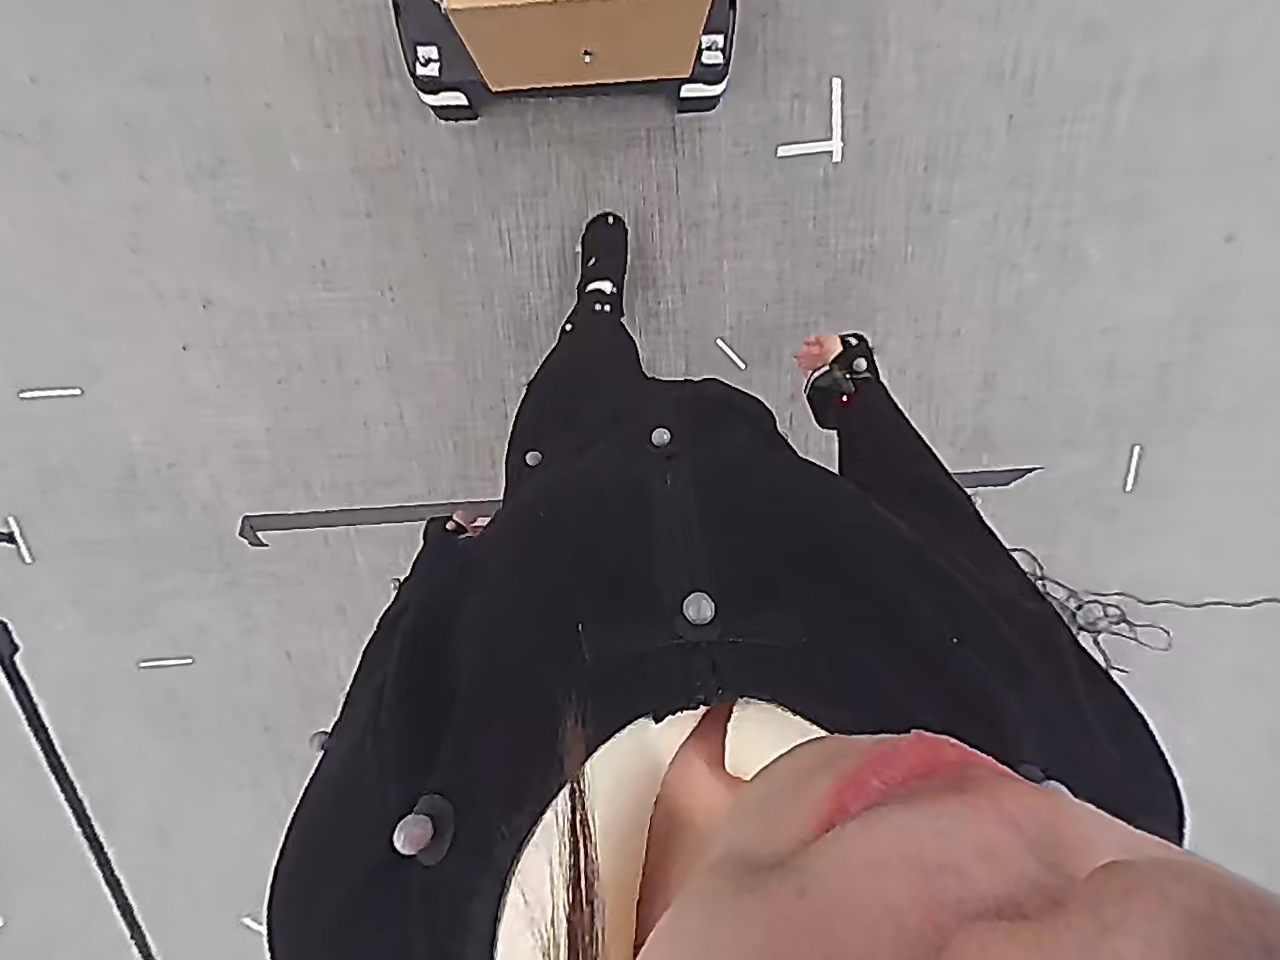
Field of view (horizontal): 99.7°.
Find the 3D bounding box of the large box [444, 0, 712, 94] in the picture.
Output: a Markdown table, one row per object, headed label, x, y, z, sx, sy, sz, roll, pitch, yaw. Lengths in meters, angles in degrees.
| label | x | y | z | sx | sy | sz | roll | pitch | yaw |
| --- | --- | --- | --- | --- | --- | --- | --- | --- | --- |
| large box | -0.102 | -0.886 | 0.890 | 0.408 | 0.320 | 0.320 | -5 | 106 | 0 |
